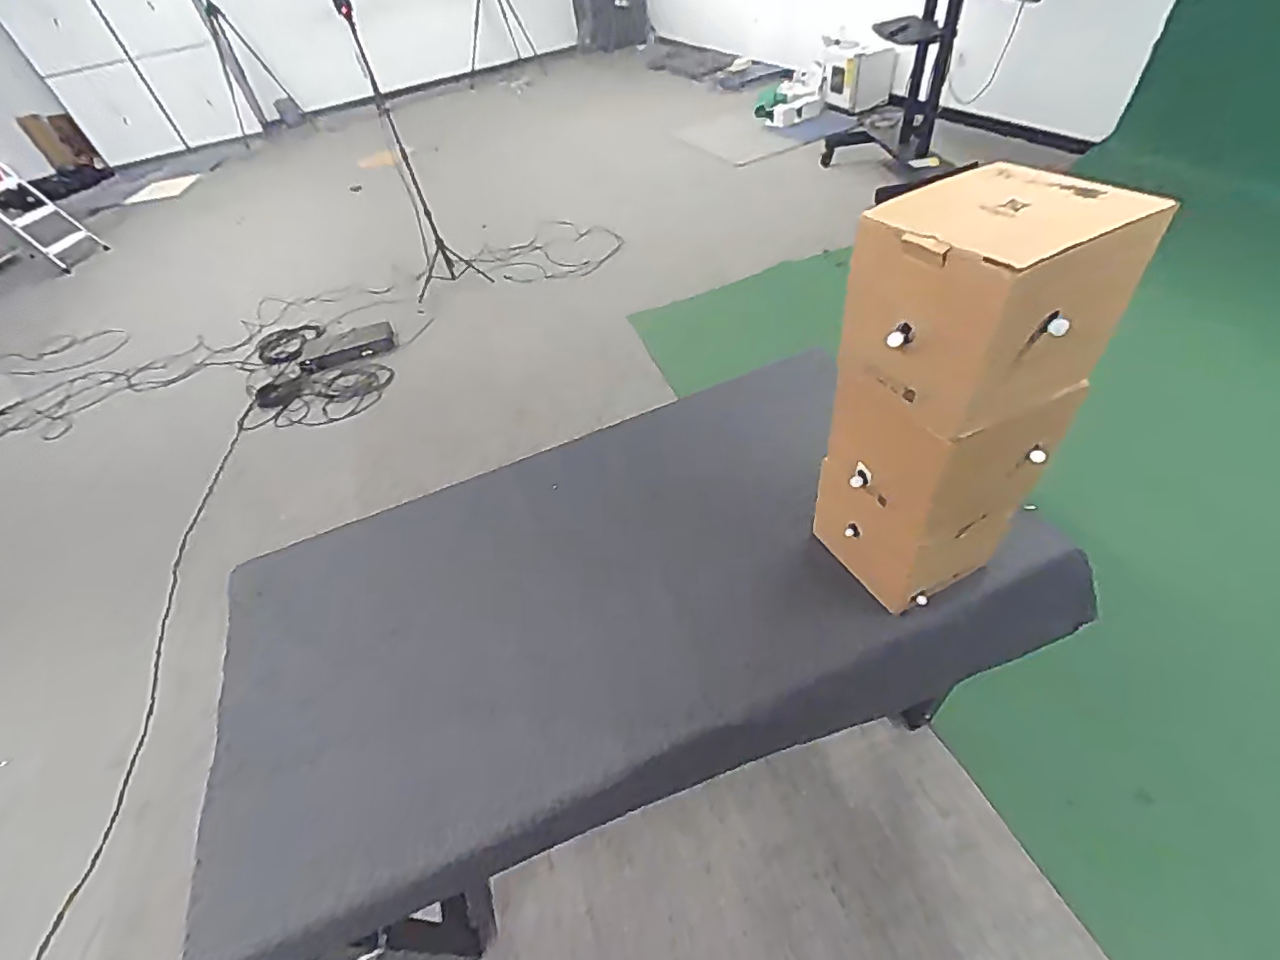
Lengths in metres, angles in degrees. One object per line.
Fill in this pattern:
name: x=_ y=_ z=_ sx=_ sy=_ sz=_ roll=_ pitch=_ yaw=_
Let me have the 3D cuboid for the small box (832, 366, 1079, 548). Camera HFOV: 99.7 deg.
small box: x=0.351 y=-0.053 z=0.644 sx=0.179 sy=0.176 sz=0.168 roll=-24 pitch=45 yaw=-10

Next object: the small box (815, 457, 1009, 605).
small box: x=0.371 y=0.052 z=0.765 sx=0.168 sy=0.176 sz=0.179 roll=-24 pitch=46 yaw=-12

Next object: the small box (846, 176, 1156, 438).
small box: x=0.323 y=-0.169 z=0.531 sx=0.179 sy=0.176 sz=0.168 roll=-24 pitch=46 yaw=-12
